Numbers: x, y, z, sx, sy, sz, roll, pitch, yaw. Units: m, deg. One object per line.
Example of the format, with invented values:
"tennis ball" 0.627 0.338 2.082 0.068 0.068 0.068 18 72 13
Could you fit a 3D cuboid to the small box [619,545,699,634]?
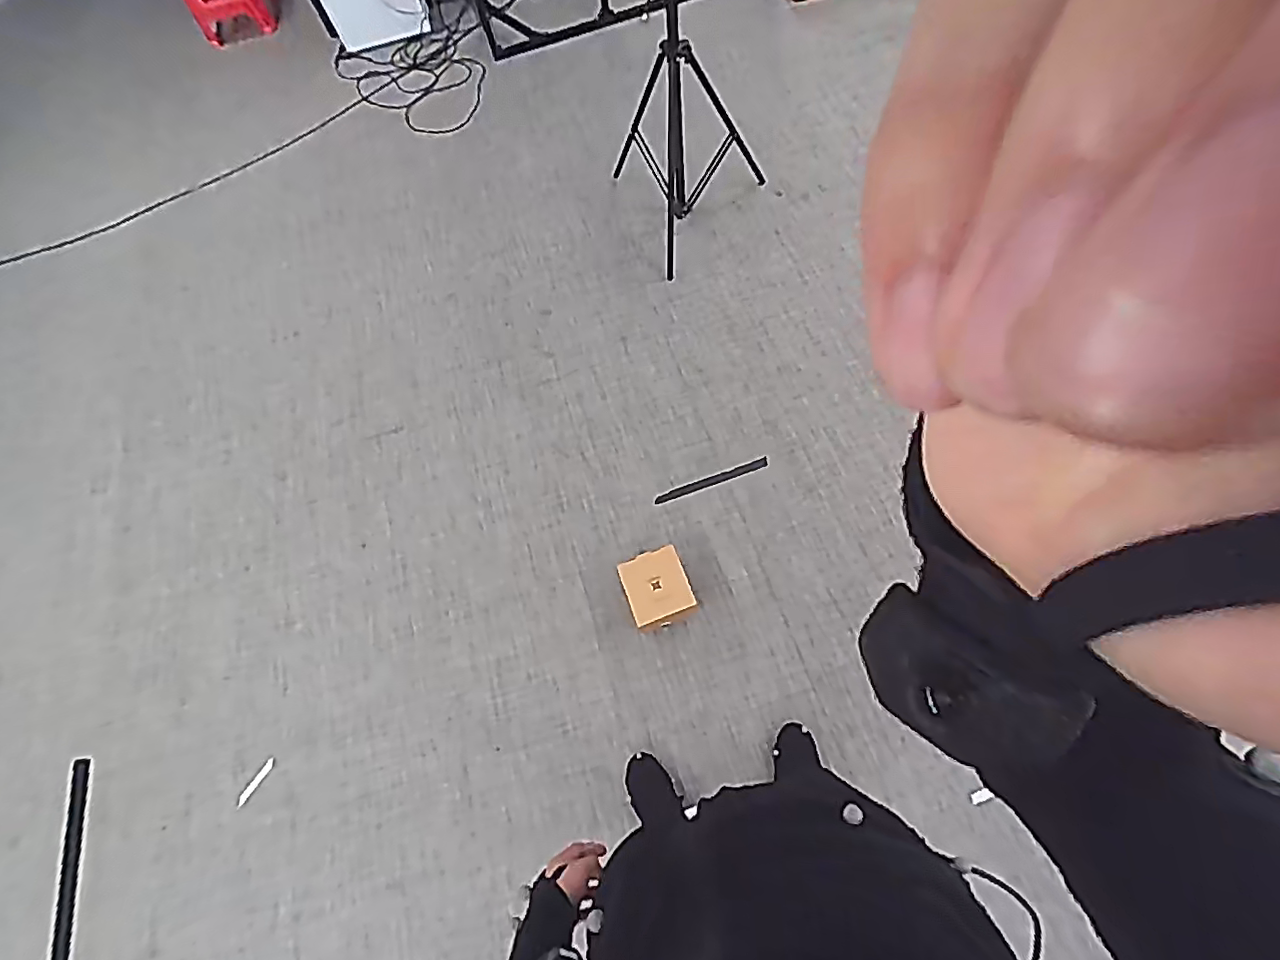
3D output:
"small box" 0.054 0.305 1.484 0.168 0.176 0.179 -21 67 -1
